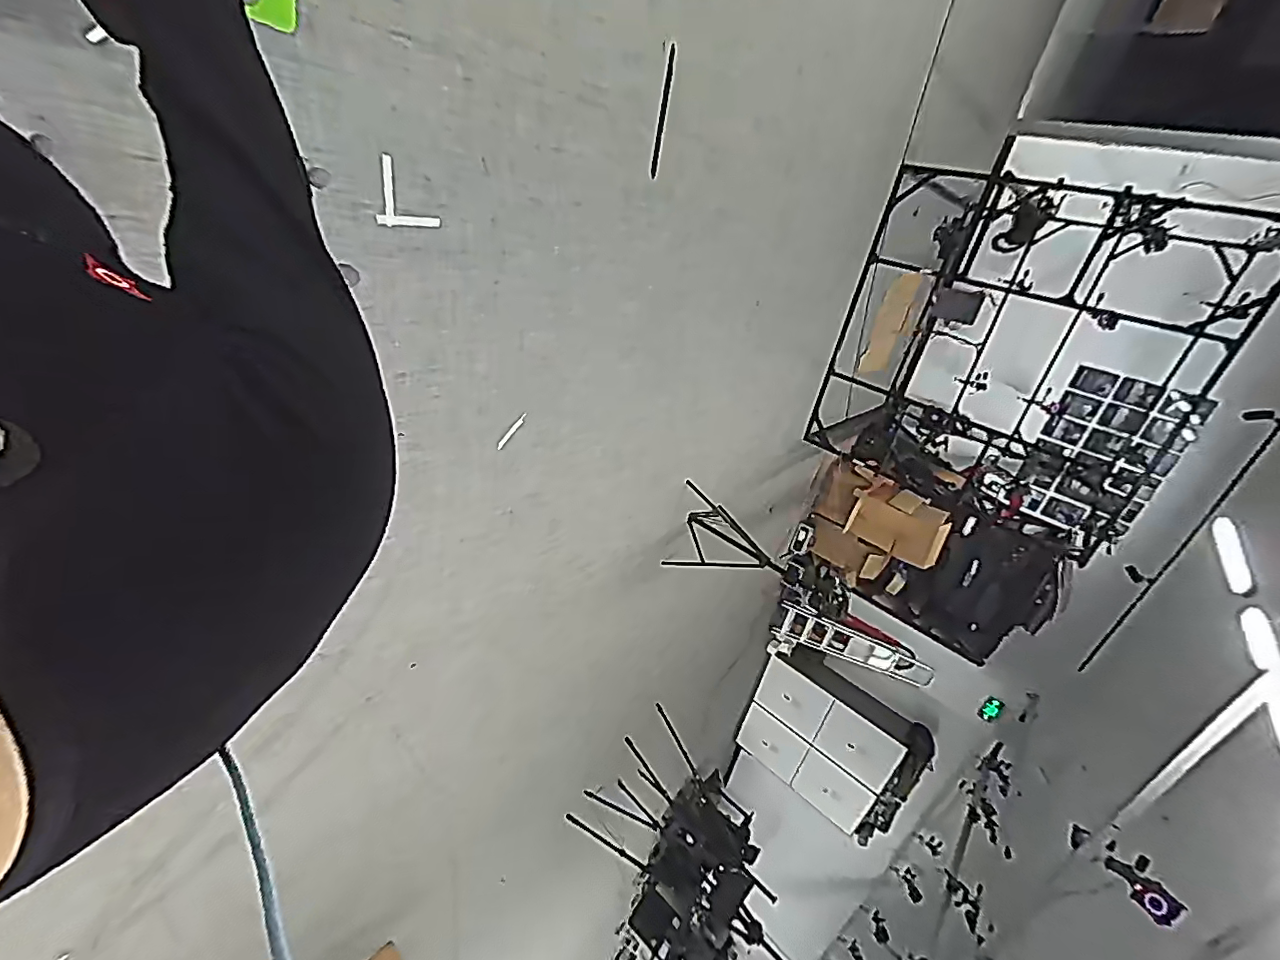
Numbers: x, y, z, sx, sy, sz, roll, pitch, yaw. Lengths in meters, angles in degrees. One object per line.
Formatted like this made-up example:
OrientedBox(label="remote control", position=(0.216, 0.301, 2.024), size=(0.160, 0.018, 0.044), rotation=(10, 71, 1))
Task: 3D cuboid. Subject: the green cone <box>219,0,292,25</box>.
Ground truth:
OrientedBox(label="green cone", position=(-0.611, -0.901, 0.885), size=(0.202, 0.368, 0.200), rotation=(-17, 129, -49))
